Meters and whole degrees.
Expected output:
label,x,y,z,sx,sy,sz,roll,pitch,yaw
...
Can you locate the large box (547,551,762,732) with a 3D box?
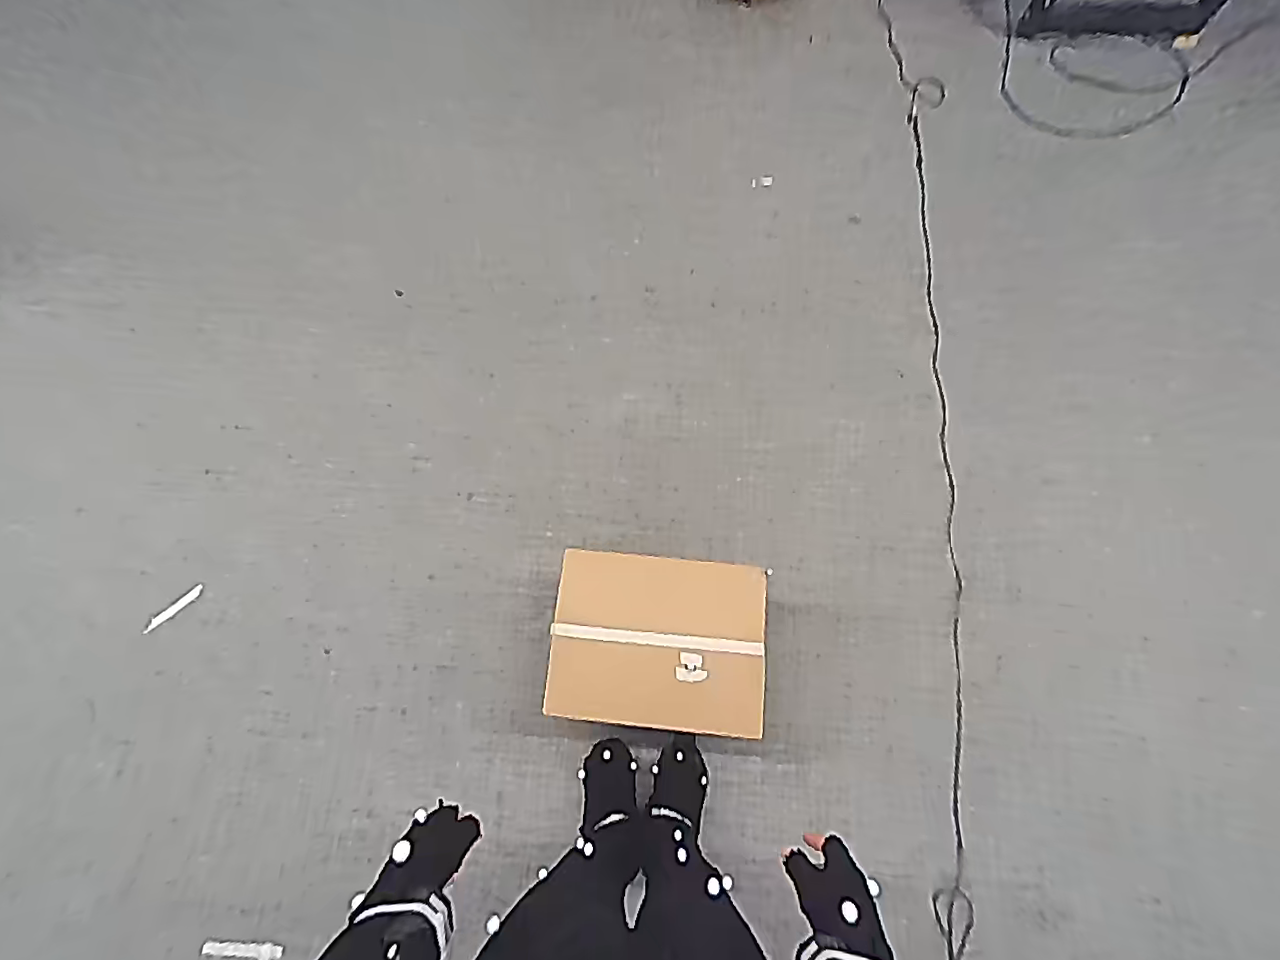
label,x,y,z,sx,sy,sz,roll,pitch,yaw
large box,0.035,0.348,1.183,0.408,0.320,0.320,5,73,3
